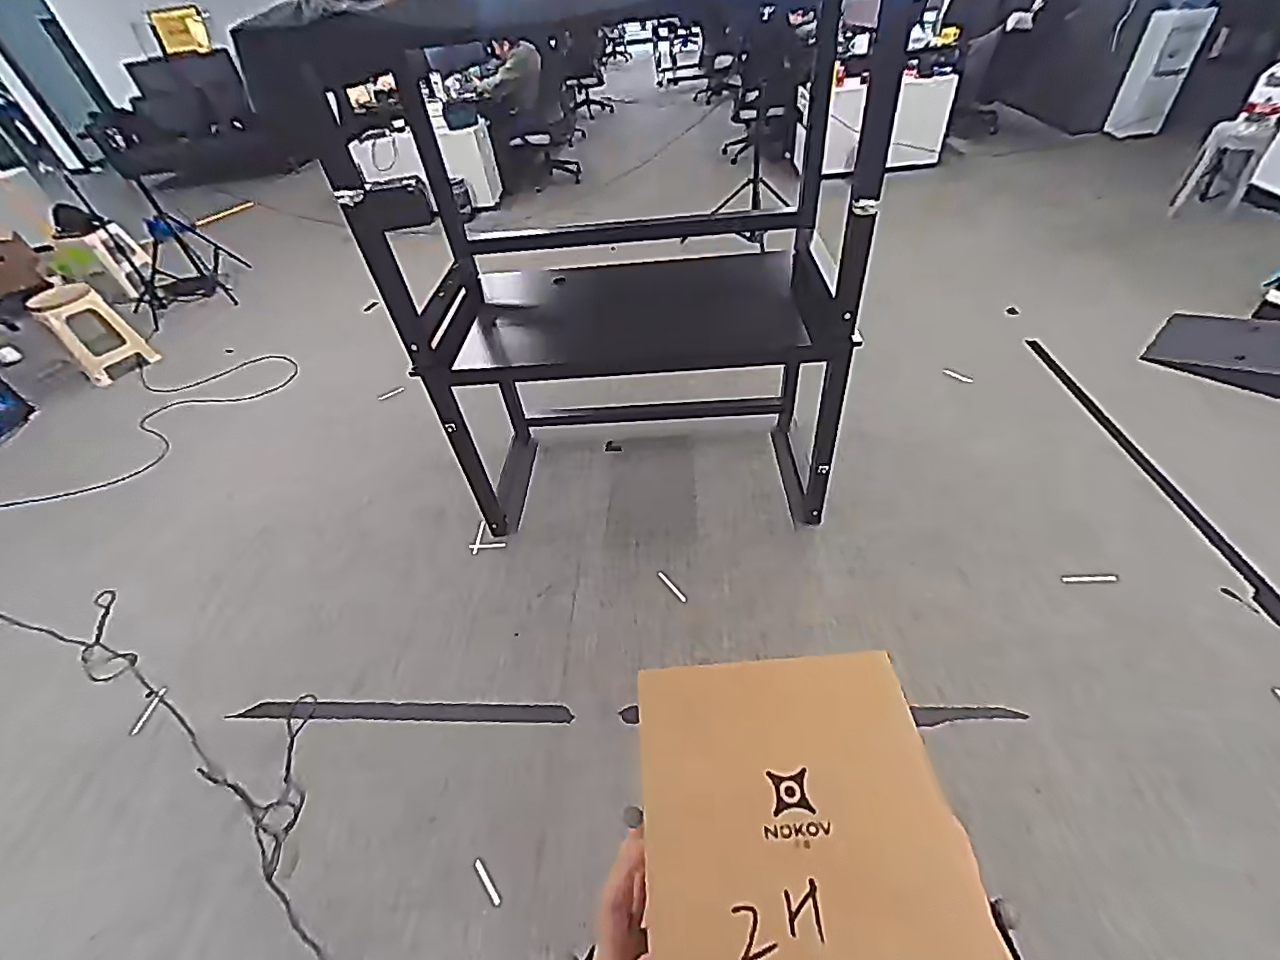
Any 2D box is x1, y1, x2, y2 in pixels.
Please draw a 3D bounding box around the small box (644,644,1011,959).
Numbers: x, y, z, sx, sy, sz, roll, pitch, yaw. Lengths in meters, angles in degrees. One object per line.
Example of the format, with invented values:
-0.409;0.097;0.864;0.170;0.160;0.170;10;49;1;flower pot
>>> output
0.092;0.231;0.351;0.168;0.176;0.179;-6;45;3;small box
